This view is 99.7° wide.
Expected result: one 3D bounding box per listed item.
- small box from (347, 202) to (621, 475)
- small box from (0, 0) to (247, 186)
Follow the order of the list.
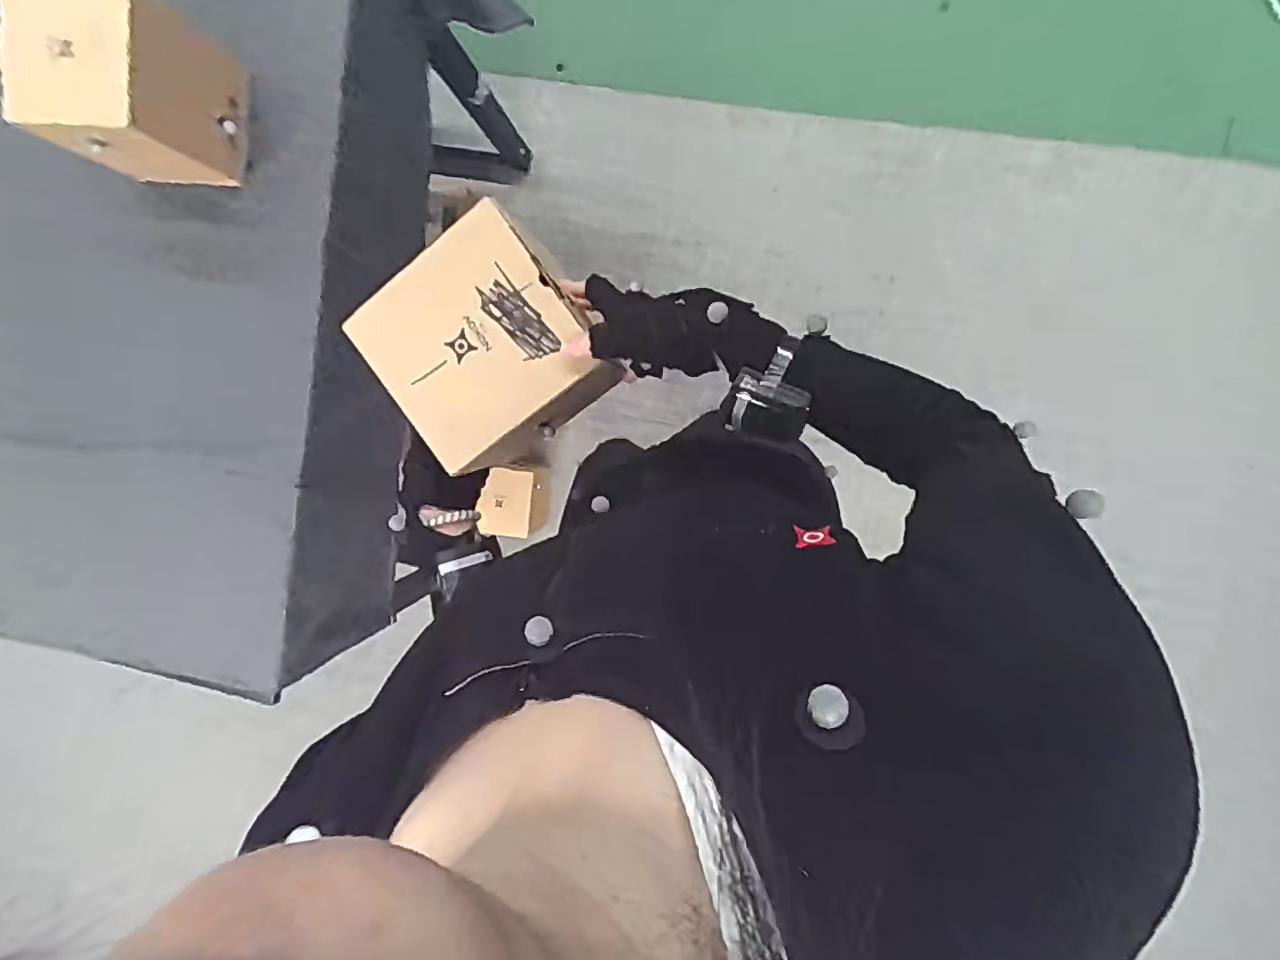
[{"bbox_3d":[-0.133,-0.128,0.538,0.179,0.176,0.168,-34,92,11],"label":"small box"},{"bbox_3d":[-0.659,-0.503,0.699,0.179,0.176,0.168,8,98,7],"label":"small box"}]
